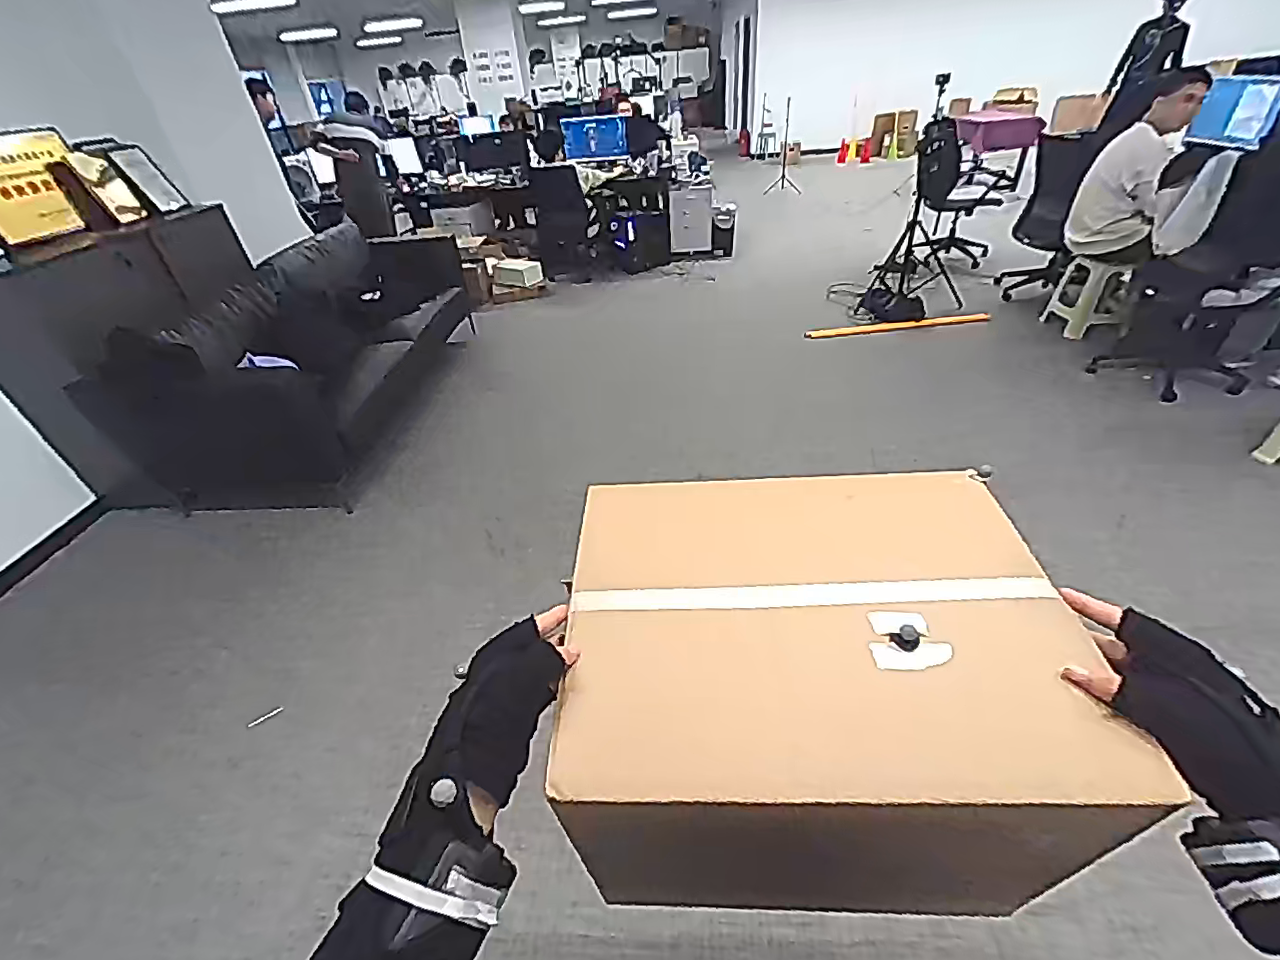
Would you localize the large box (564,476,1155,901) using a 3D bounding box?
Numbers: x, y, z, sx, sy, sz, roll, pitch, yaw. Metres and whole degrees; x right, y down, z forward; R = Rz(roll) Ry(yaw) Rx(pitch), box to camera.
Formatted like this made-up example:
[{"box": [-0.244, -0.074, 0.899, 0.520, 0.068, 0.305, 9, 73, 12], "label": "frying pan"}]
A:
[{"box": [0.154, 0.217, 0.572, 0.408, 0.320, 0.320, -2, 42, 4], "label": "large box"}]
